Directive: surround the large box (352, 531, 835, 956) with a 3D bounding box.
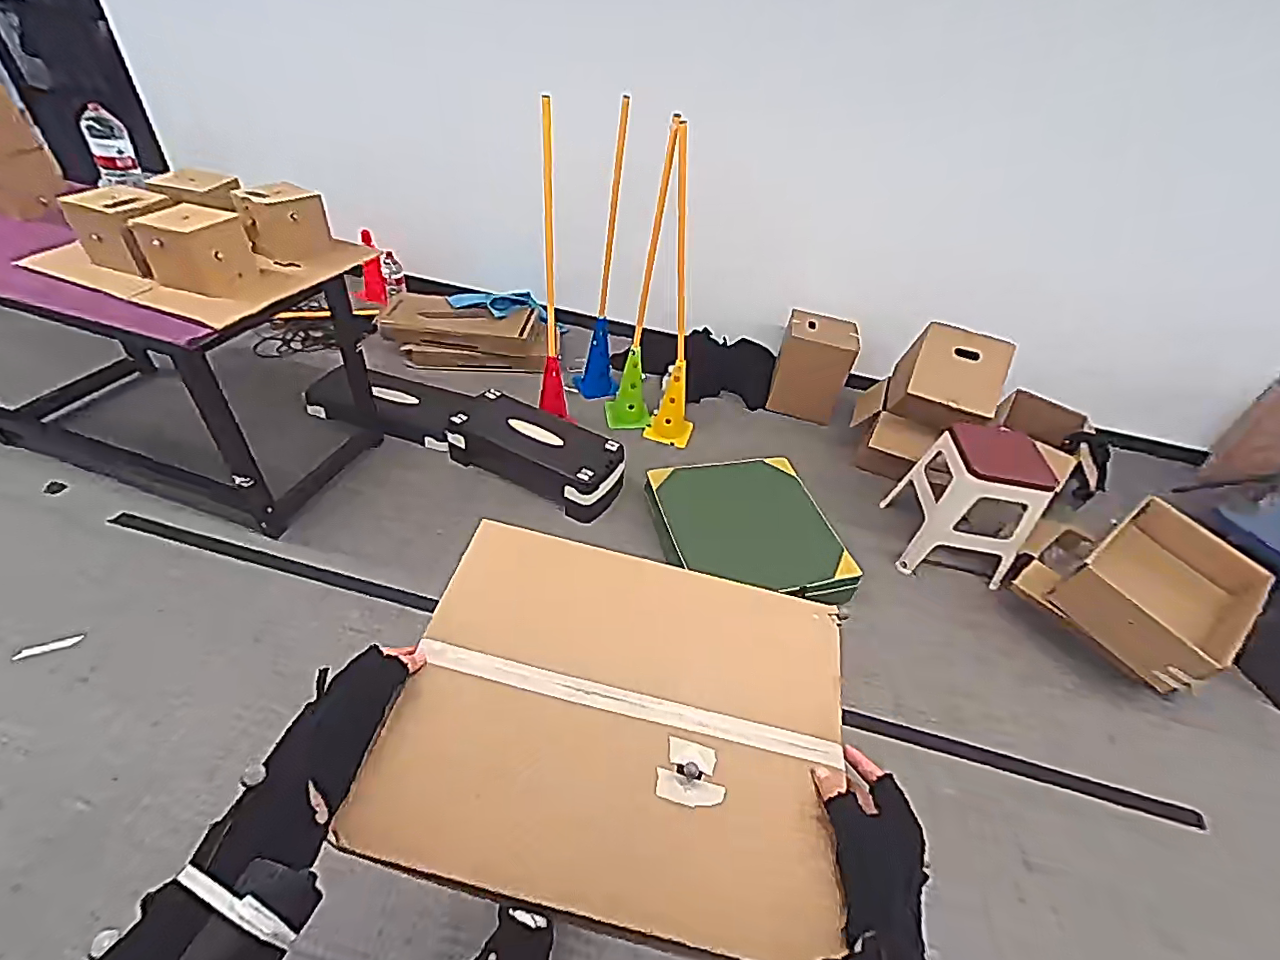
[{"bbox_3d":[-0.032,0.307,0.634,0.408,0.320,0.320,14,50,2],"label":"large box"}]
